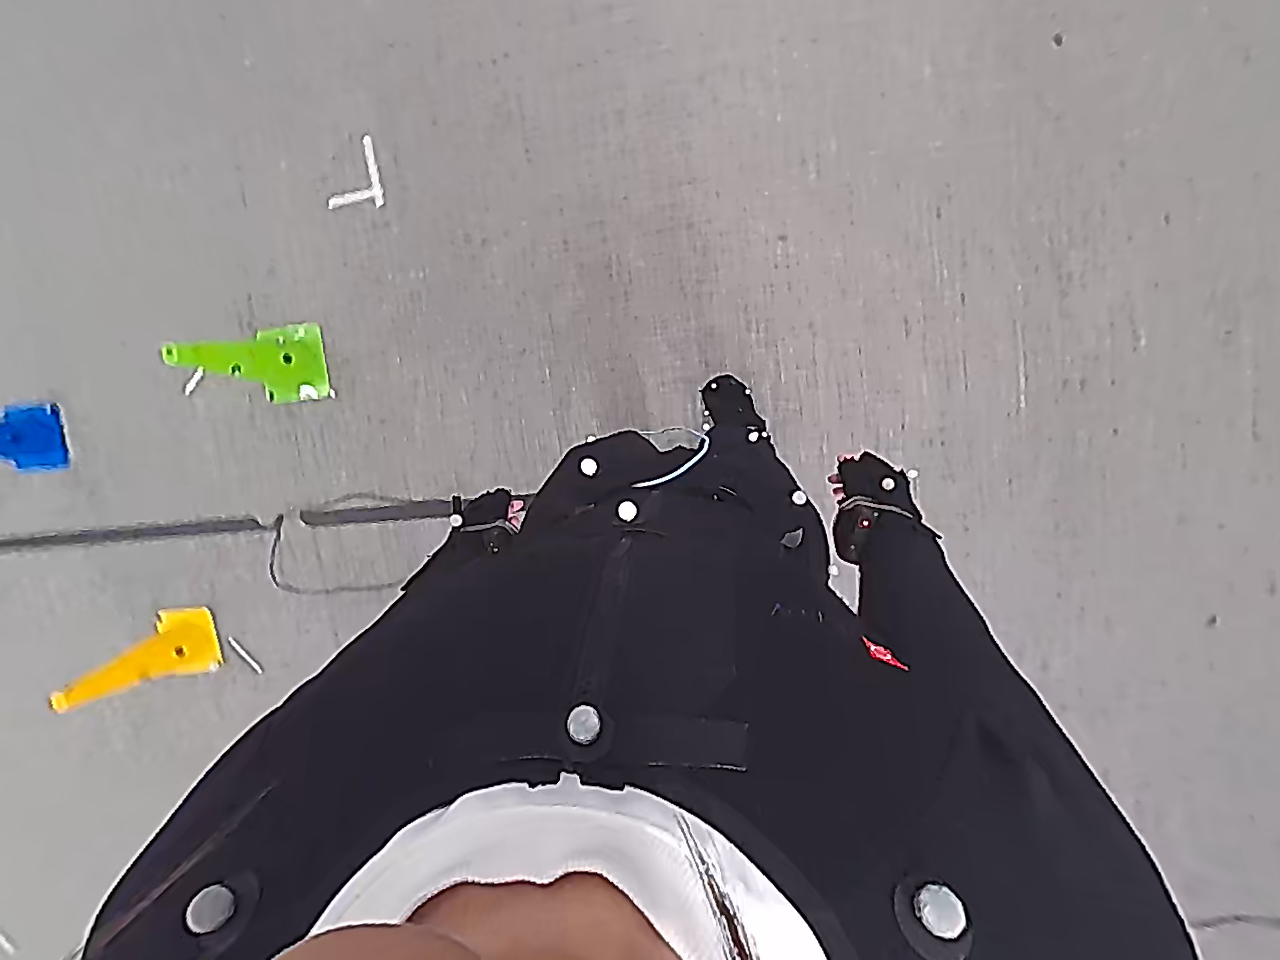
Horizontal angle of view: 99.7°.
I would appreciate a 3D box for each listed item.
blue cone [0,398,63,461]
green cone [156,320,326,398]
[{"bbox_3d":[-1.889,-0.134,1.503,0.193,0.380,0.192,-1,97,7],"label":"blue cone"},{"bbox_3d":[-1.001,-0.315,1.344,0.200,0.368,0.202,-5,96,8],"label":"green cone"}]
